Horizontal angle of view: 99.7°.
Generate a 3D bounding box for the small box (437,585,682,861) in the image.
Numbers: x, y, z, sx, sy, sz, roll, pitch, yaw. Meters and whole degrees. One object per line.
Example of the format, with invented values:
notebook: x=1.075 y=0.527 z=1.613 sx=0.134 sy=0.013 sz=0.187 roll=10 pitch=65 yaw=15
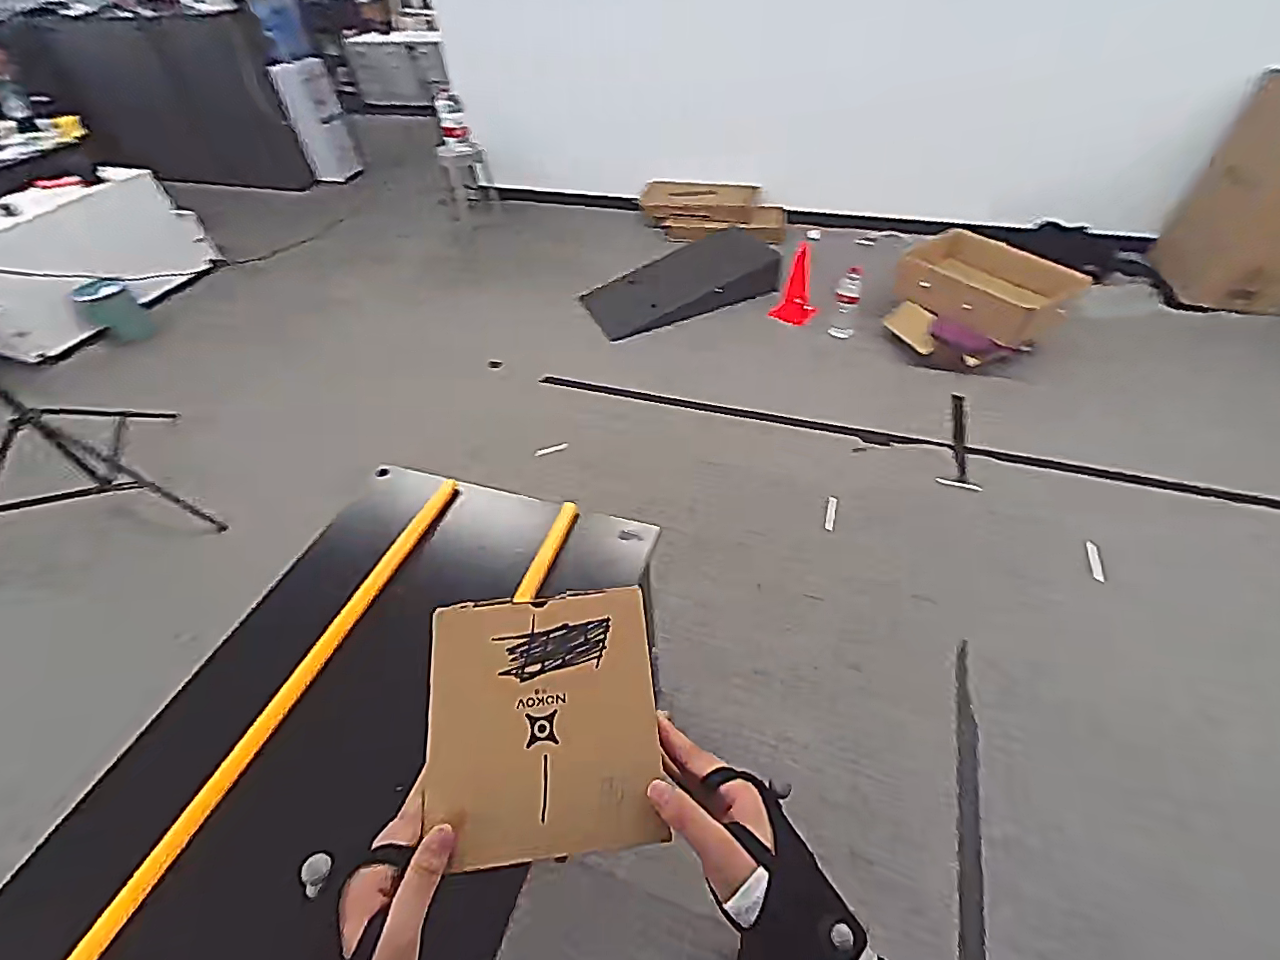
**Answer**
small box: x=-0.061 y=0.204 z=0.467 sx=0.168 sy=0.176 sz=0.179 roll=-5 pitch=63 yaw=-3
